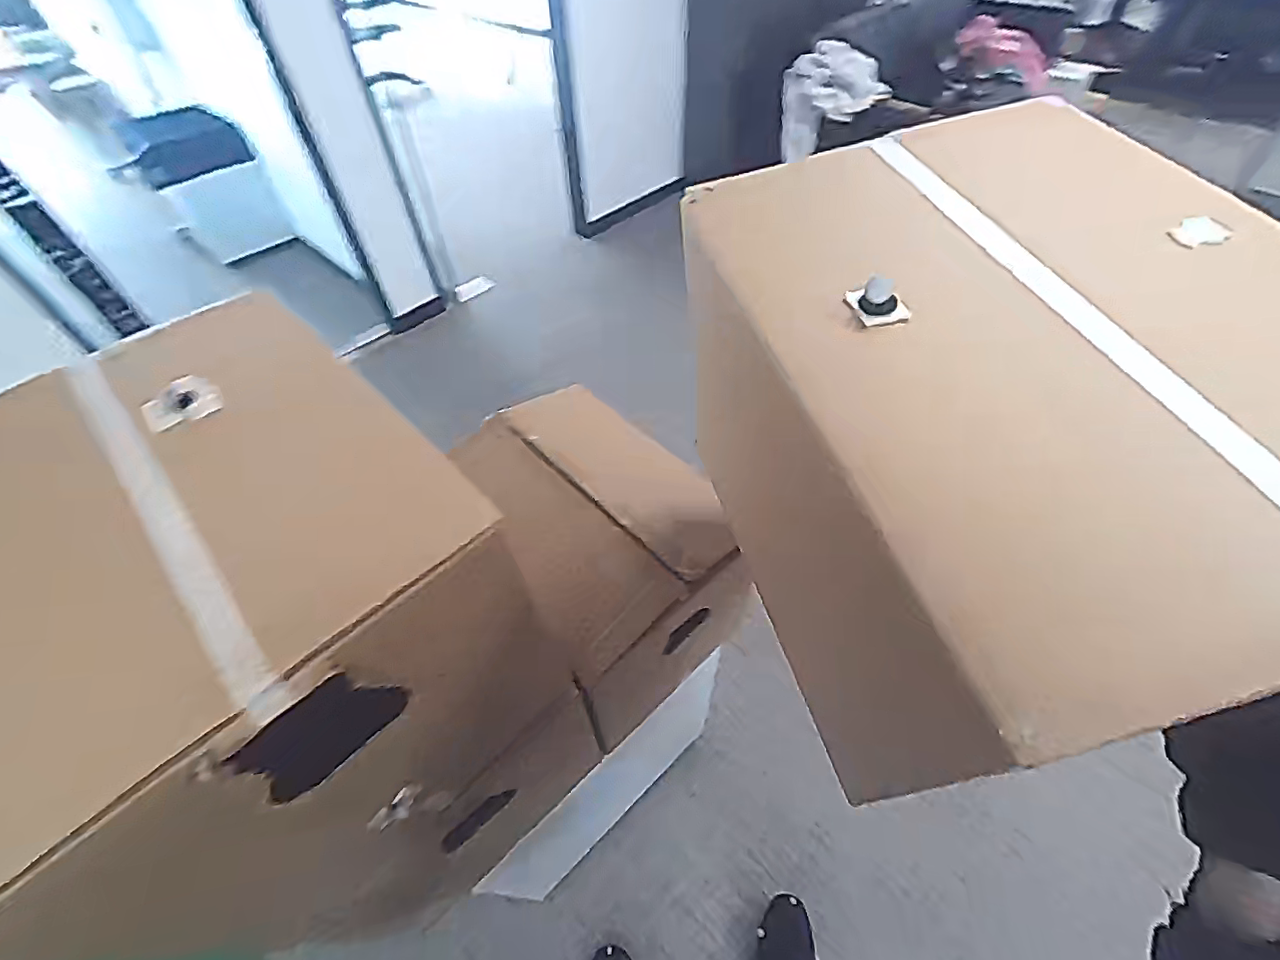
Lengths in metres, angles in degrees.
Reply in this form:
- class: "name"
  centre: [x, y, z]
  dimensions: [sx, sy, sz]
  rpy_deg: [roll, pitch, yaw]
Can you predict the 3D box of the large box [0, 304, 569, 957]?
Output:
- class: "large box"
  centre: [-0.326, 0.107, 0.492]
  dimensions: [0.408, 0.320, 0.320]
  rpy_deg: [36, 60, 29]
